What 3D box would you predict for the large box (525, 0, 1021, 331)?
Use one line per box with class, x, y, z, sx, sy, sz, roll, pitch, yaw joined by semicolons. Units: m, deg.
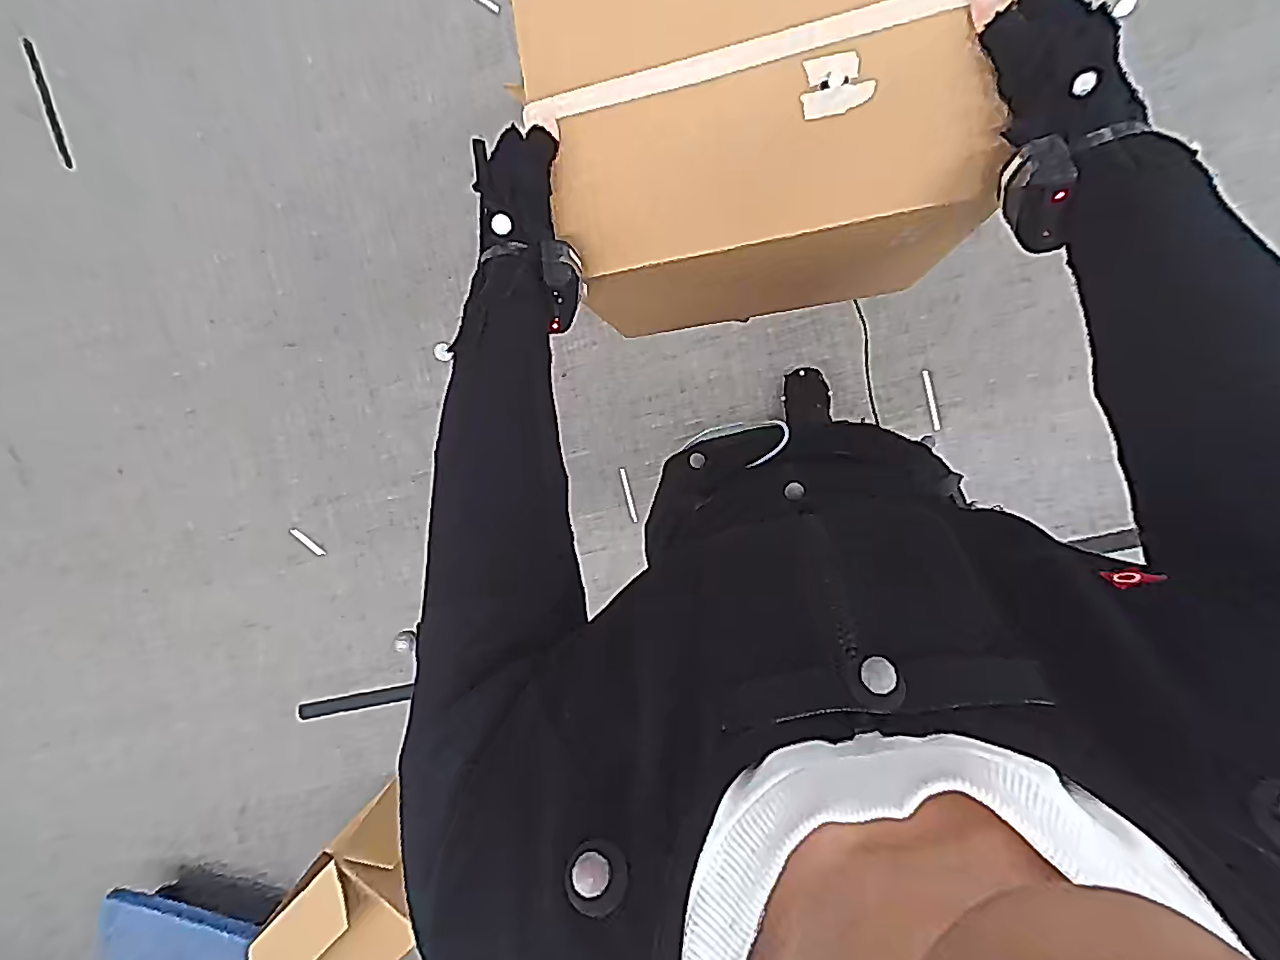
large box;0.125;-0.387;0.621;0.408;0.320;0.320;-8;94;10
